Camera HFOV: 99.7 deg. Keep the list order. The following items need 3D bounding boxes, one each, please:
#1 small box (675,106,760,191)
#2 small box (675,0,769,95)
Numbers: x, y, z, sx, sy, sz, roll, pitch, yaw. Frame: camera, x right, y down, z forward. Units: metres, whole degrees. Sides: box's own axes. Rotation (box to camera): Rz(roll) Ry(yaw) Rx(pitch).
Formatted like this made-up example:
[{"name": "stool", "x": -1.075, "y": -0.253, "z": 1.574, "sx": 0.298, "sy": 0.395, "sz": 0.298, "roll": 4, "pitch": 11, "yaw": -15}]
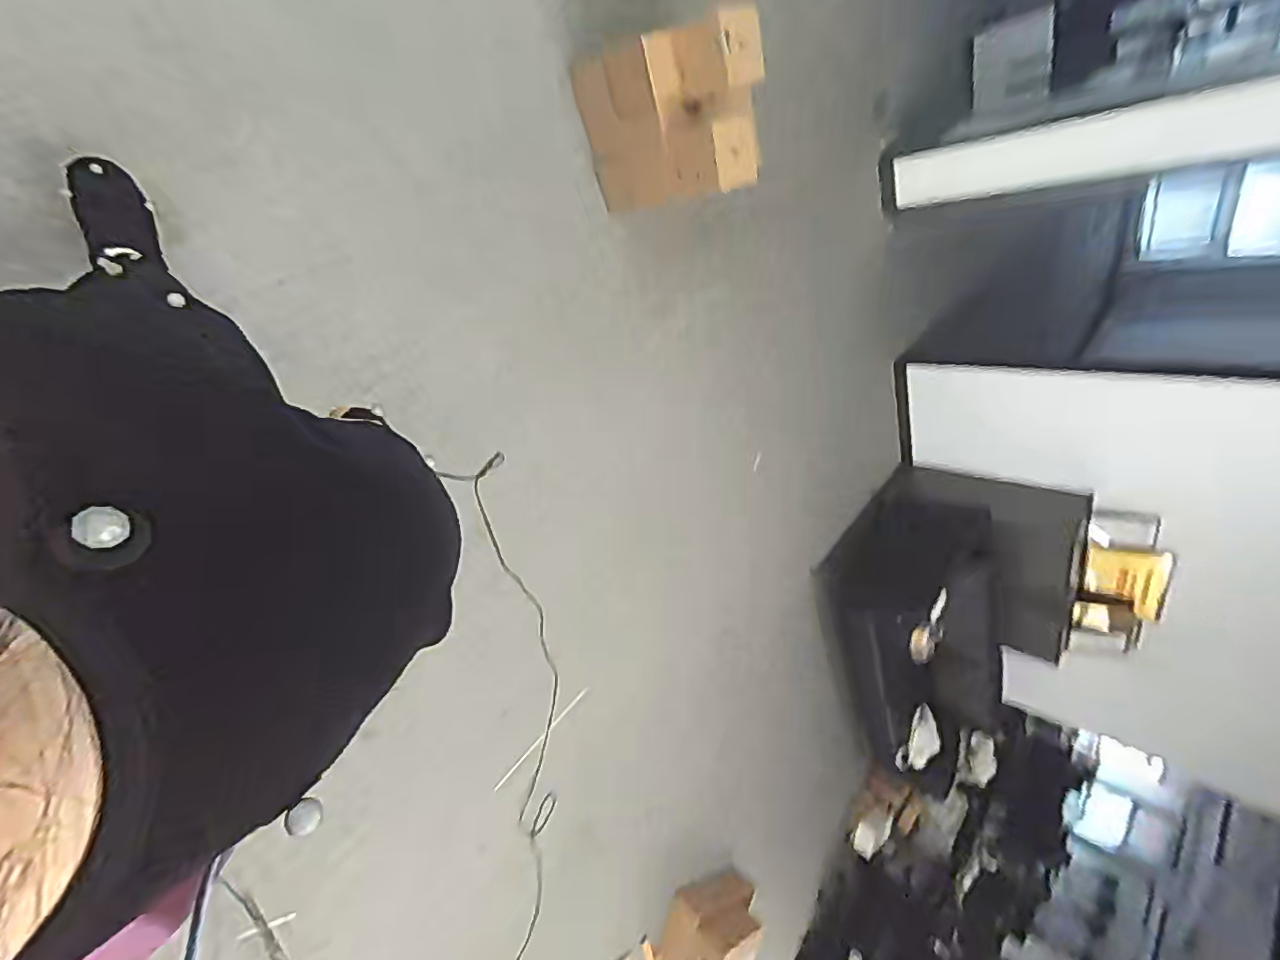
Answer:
[{"name": "small box", "x": 0.213, "y": -0.927, "z": 1.520, "sx": 0.179, "sy": 0.176, "sz": 0.168, "roll": -36, "pitch": 126, "yaw": -33}, {"name": "small box", "x": 0.222, "y": -1.168, "z": 1.459, "sx": 0.179, "sy": 0.176, "sz": 0.168, "roll": -37, "pitch": 124, "yaw": -33}]
